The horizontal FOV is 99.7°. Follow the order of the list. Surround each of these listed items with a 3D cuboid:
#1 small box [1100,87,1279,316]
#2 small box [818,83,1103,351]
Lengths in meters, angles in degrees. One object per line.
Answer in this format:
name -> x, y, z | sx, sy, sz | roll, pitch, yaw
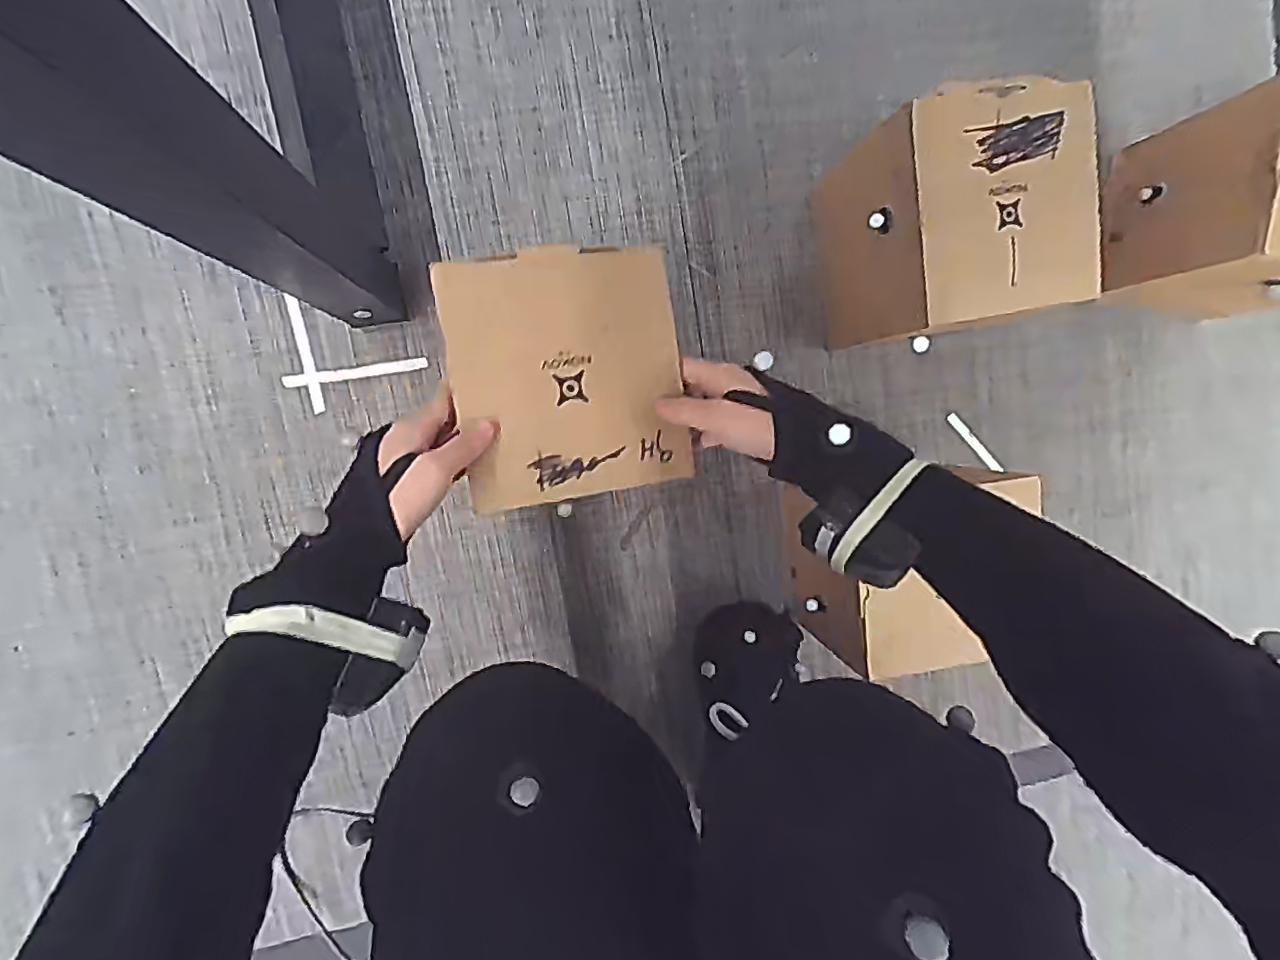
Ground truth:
small box -> 0.638, -0.278, 0.567 | 0.179, 0.176, 0.168 | 7, 95, -8
small box -> 0.288, -0.232, 0.517 | 0.168, 0.176, 0.179 | -11, 98, -7
